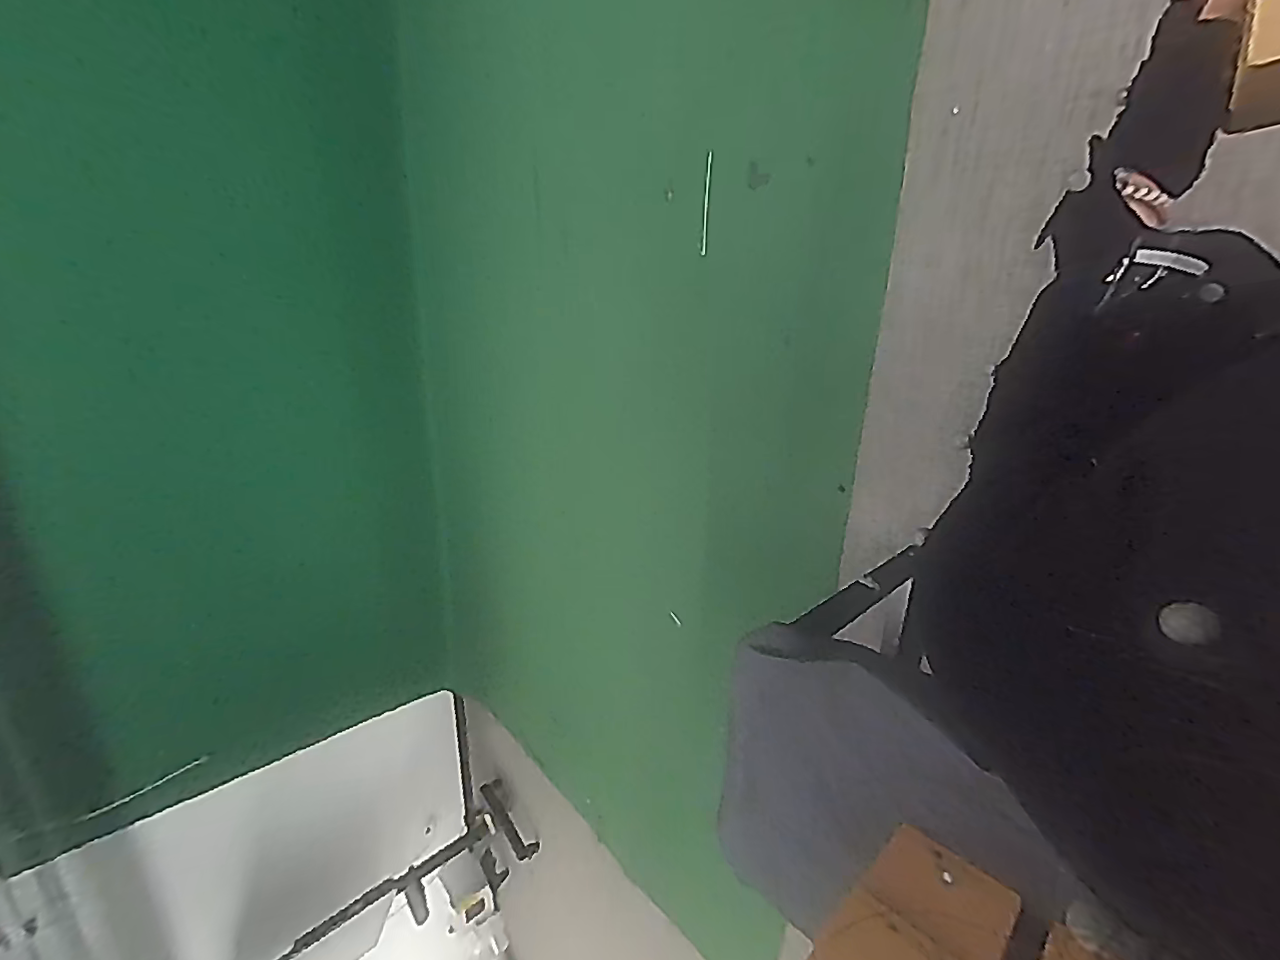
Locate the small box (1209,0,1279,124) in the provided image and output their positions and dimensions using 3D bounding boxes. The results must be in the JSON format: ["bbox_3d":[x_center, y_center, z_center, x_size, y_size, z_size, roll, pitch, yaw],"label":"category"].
[{"bbox_3d":[0.448,-0.322,0.286,0.179,0.176,0.168,9,108,41],"label":"small box"}]
